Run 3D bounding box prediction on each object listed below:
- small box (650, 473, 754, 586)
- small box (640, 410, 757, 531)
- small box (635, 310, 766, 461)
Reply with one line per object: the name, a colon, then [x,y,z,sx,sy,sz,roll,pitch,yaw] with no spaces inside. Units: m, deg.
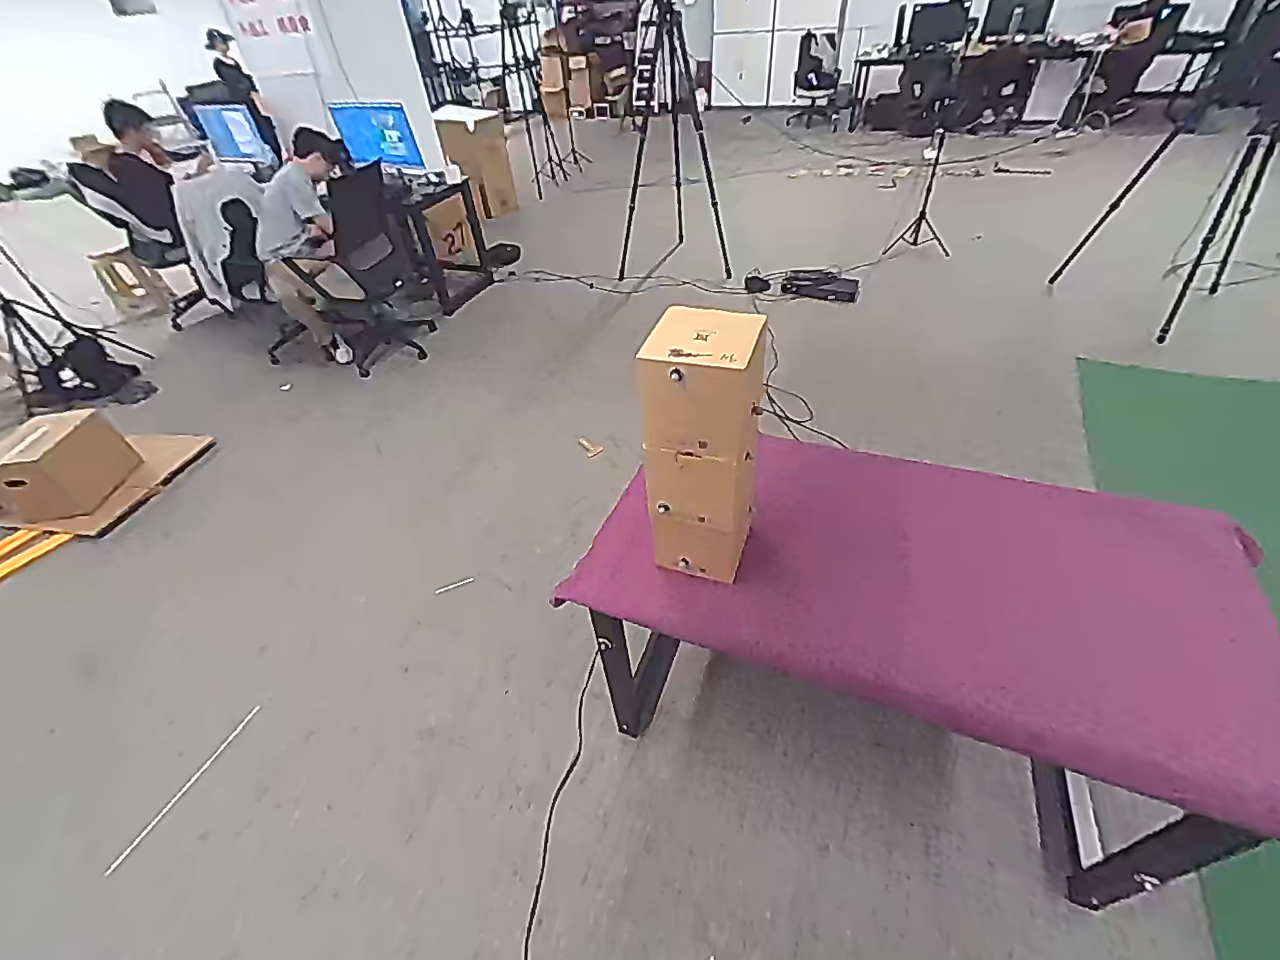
small box: [0.129,0.085,1.102,0.168,0.176,0.179,11,45,19]
small box: [0.112,-0.031,0.986,0.168,0.176,0.179,11,44,19]
small box: [0.102,-0.156,0.882,0.168,0.176,0.179,10,44,19]
